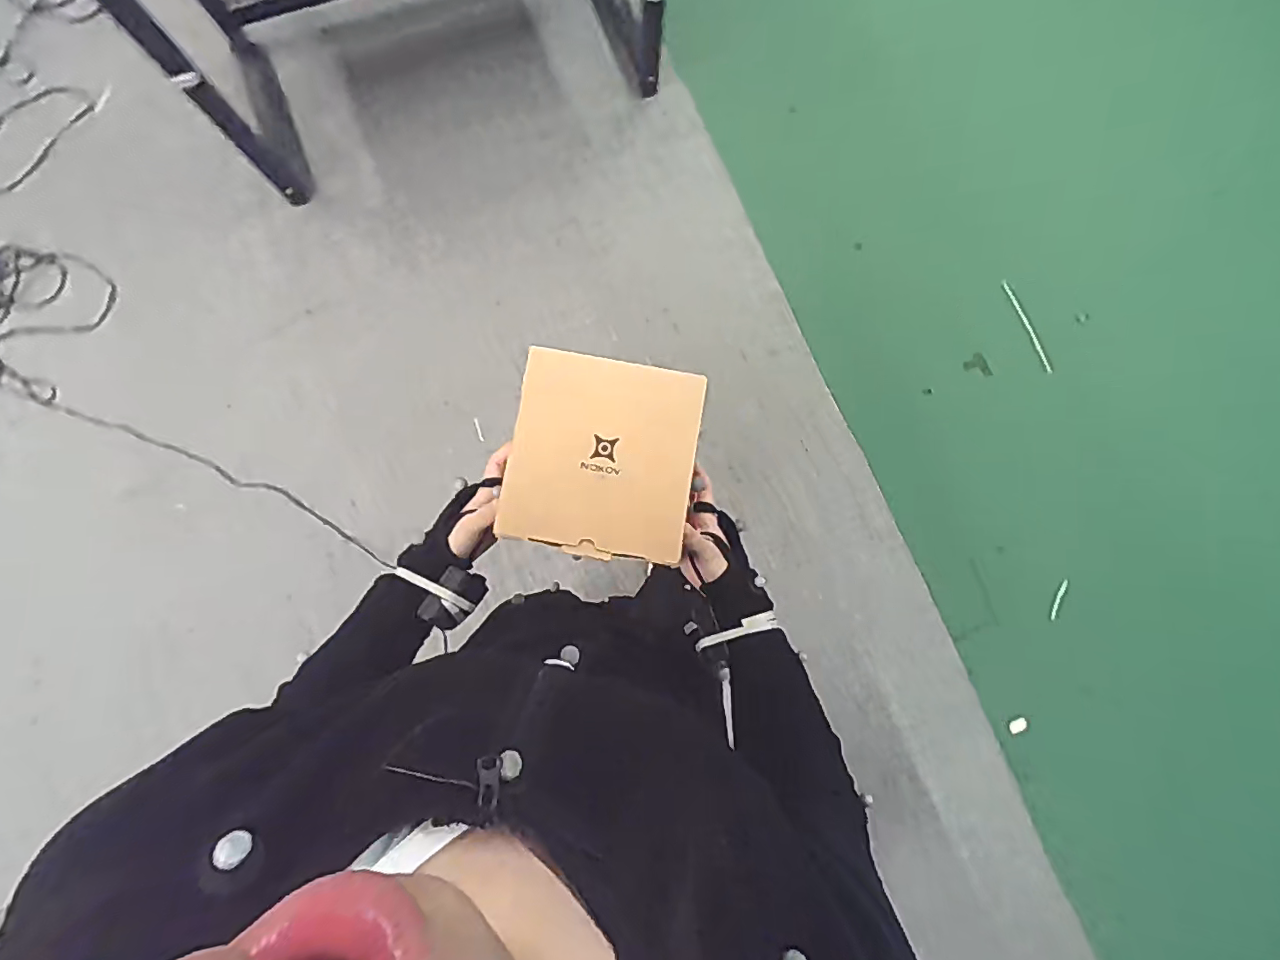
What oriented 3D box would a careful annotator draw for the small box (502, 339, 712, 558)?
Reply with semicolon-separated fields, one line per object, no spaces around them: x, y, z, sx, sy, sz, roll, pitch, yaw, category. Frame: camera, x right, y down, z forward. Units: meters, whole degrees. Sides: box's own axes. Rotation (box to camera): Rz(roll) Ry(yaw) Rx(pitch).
-0.031;-0.020;0.552;0.168;0.176;0.179;8;84;-2;small box
